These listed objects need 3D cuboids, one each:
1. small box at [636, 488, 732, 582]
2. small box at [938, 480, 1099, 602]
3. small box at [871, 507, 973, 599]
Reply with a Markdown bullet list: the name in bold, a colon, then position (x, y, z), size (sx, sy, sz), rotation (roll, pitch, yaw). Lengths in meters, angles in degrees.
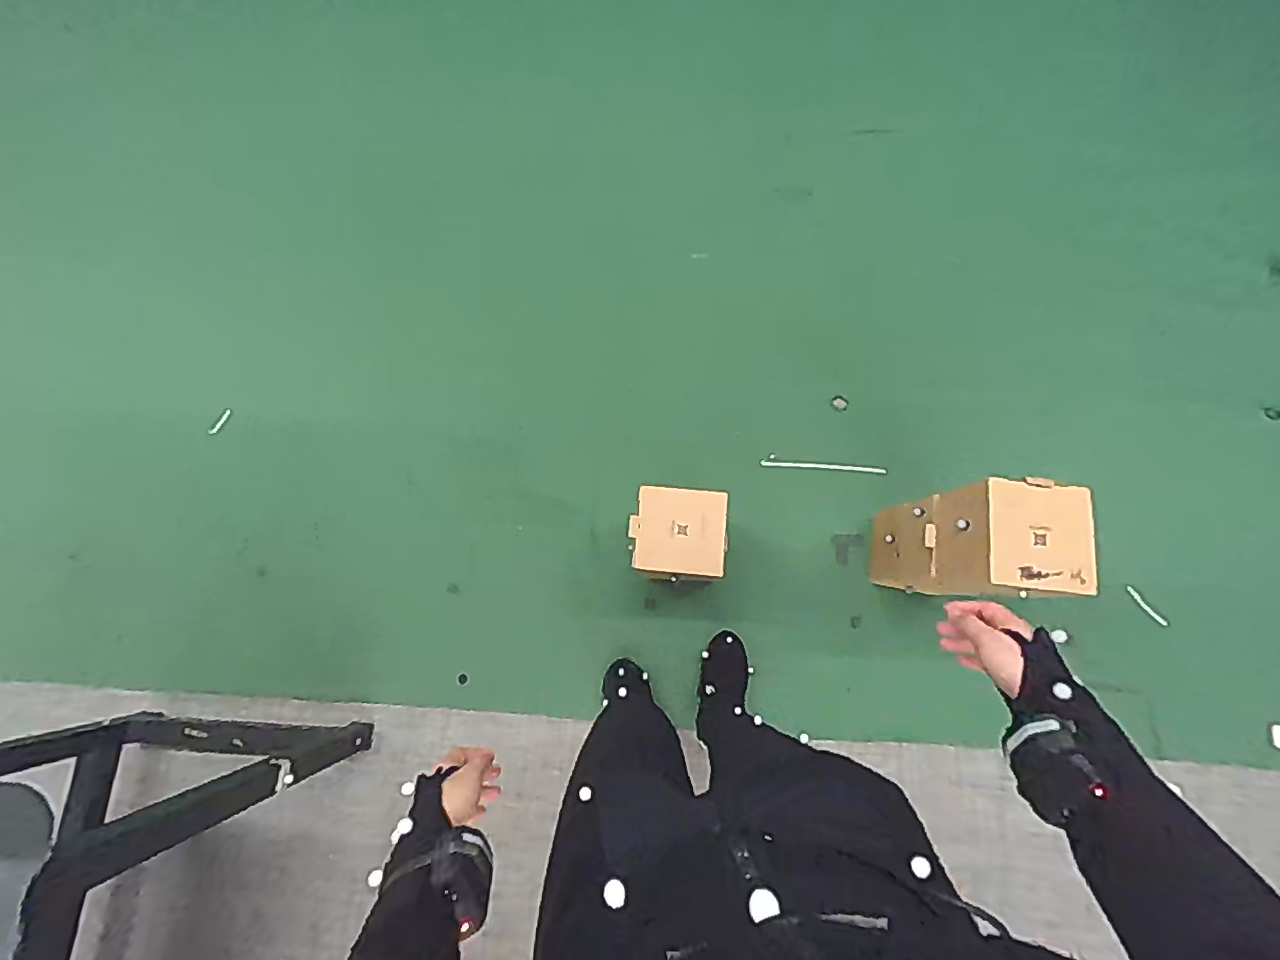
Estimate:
- **small box**: position (0.088, 0.120, 1.118), size (0.179, 0.176, 0.168), rotation (5, 78, 2)
- **small box**: position (0.643, 0.113, 0.939), size (0.168, 0.176, 0.179), rotation (7, 77, 1)
- **small box**: position (0.657, 0.176, 1.262), size (0.168, 0.176, 0.179), rotation (11, 78, 3)
